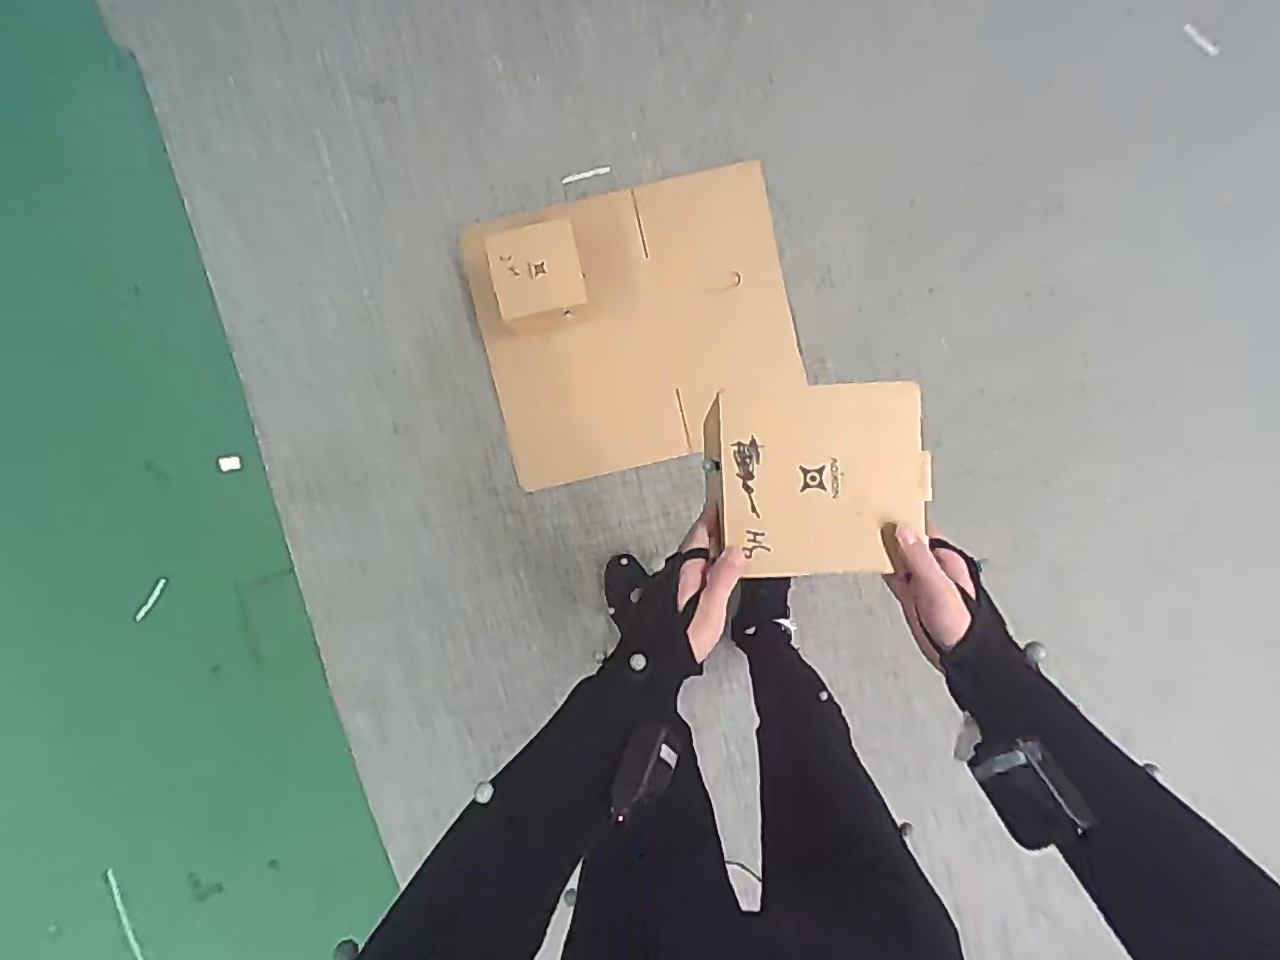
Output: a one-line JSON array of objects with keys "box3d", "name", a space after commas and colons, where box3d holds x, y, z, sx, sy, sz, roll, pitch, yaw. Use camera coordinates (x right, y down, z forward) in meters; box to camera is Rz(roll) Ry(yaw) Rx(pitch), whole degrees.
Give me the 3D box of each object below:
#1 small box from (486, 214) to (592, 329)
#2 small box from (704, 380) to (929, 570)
[{"box3d": [-0.198, -0.422, 1.119, 0.179, 0.176, 0.168, -12, 95, 0], "name": "small box"}, {"box3d": [0.162, -0.003, 0.550, 0.179, 0.176, 0.168, -2, 88, 2], "name": "small box"}]
